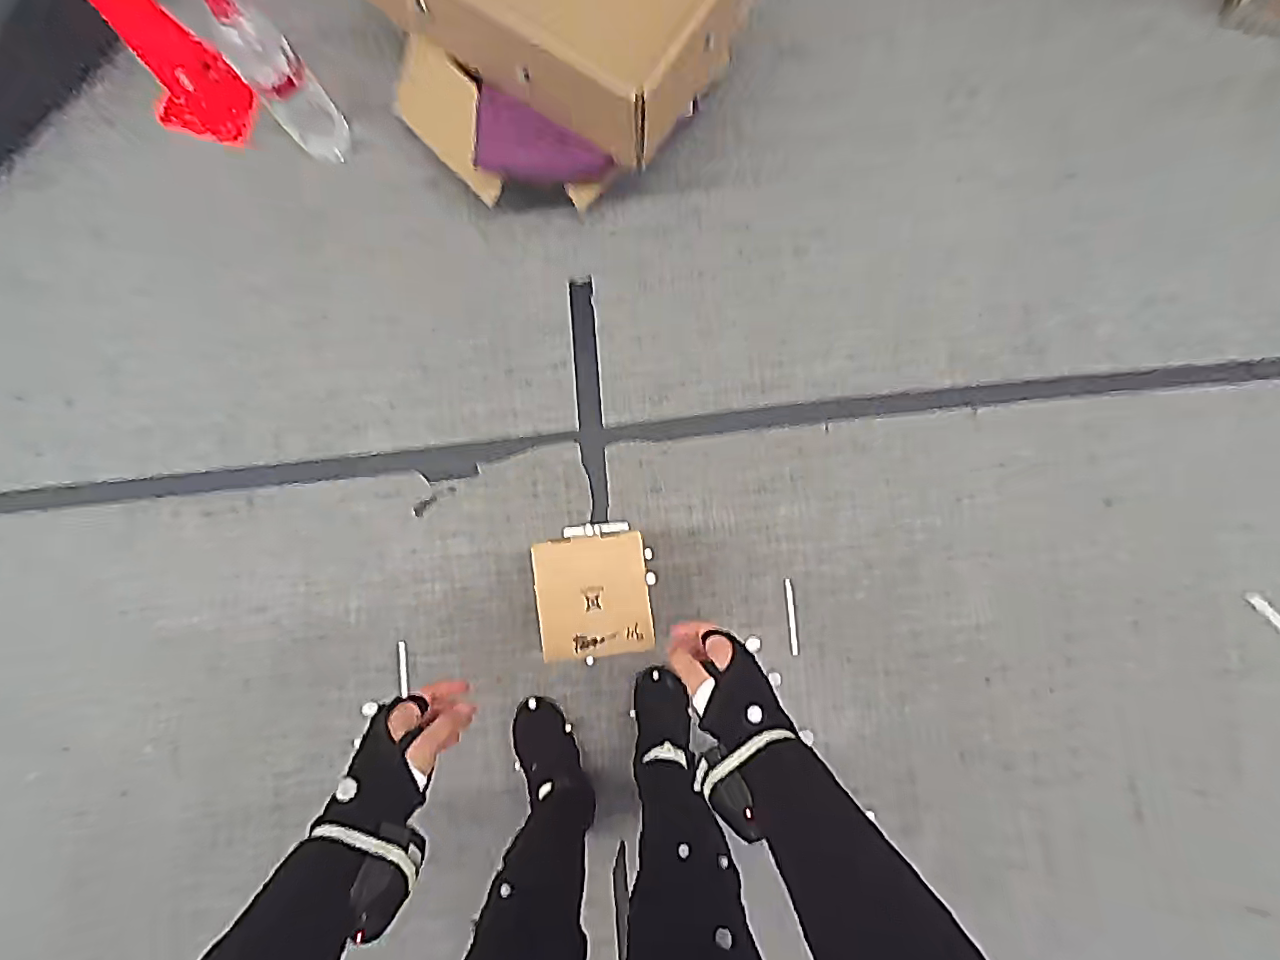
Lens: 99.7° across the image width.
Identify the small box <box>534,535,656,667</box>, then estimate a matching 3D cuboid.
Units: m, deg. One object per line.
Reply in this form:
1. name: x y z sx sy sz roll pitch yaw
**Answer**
1. small box: -0.070 0.188 0.878 0.168 0.176 0.179 -8 84 -2
